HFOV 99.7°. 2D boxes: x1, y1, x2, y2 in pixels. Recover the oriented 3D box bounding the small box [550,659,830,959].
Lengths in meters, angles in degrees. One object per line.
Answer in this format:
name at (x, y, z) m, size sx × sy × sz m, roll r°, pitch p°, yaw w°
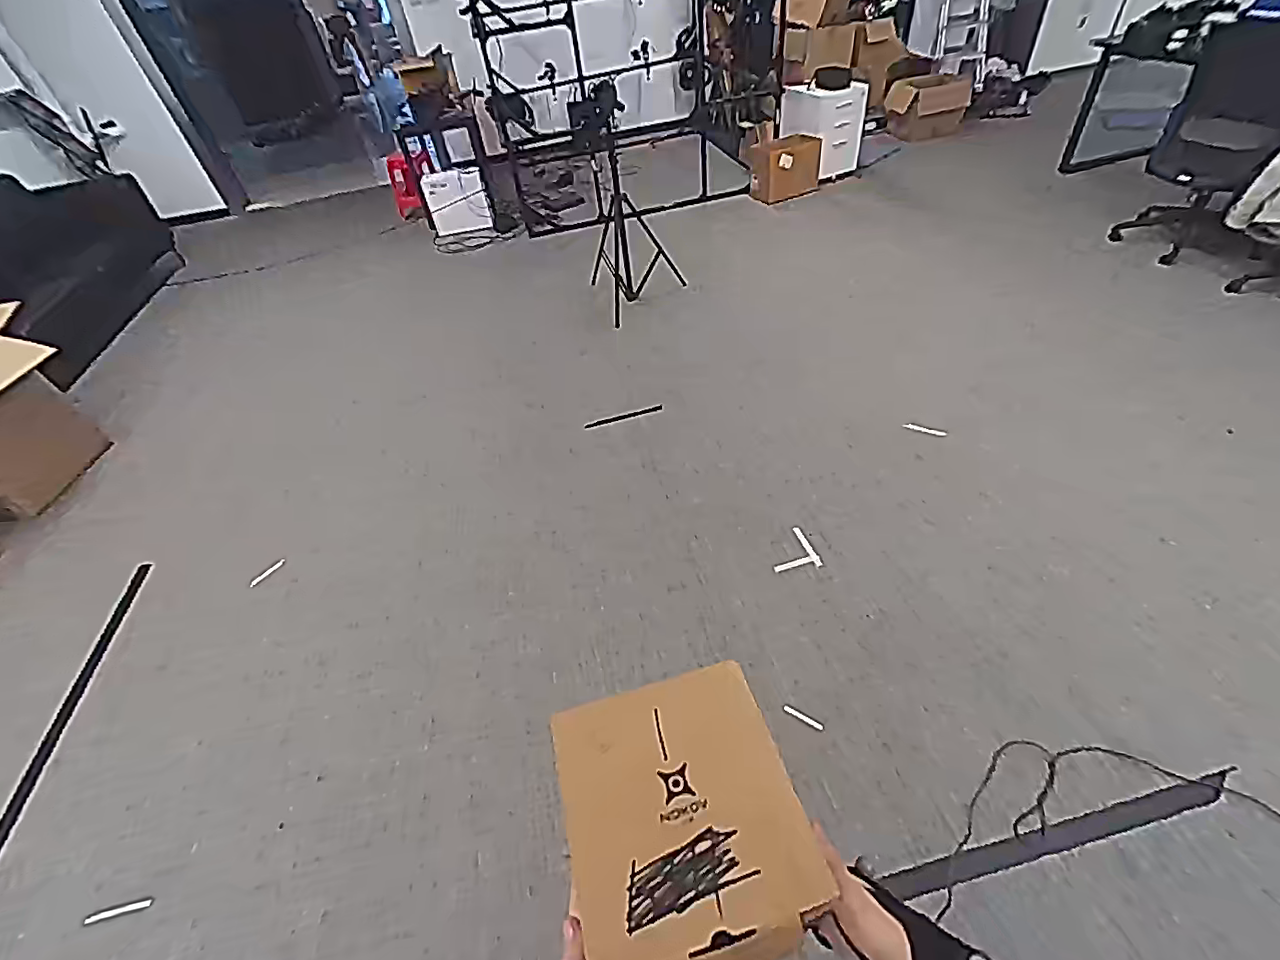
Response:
small box at (0.031, 0.286, 0.450) m, size 0.168 × 0.176 × 0.179 m, roll -13°, pitch 44°, yaw -8°
